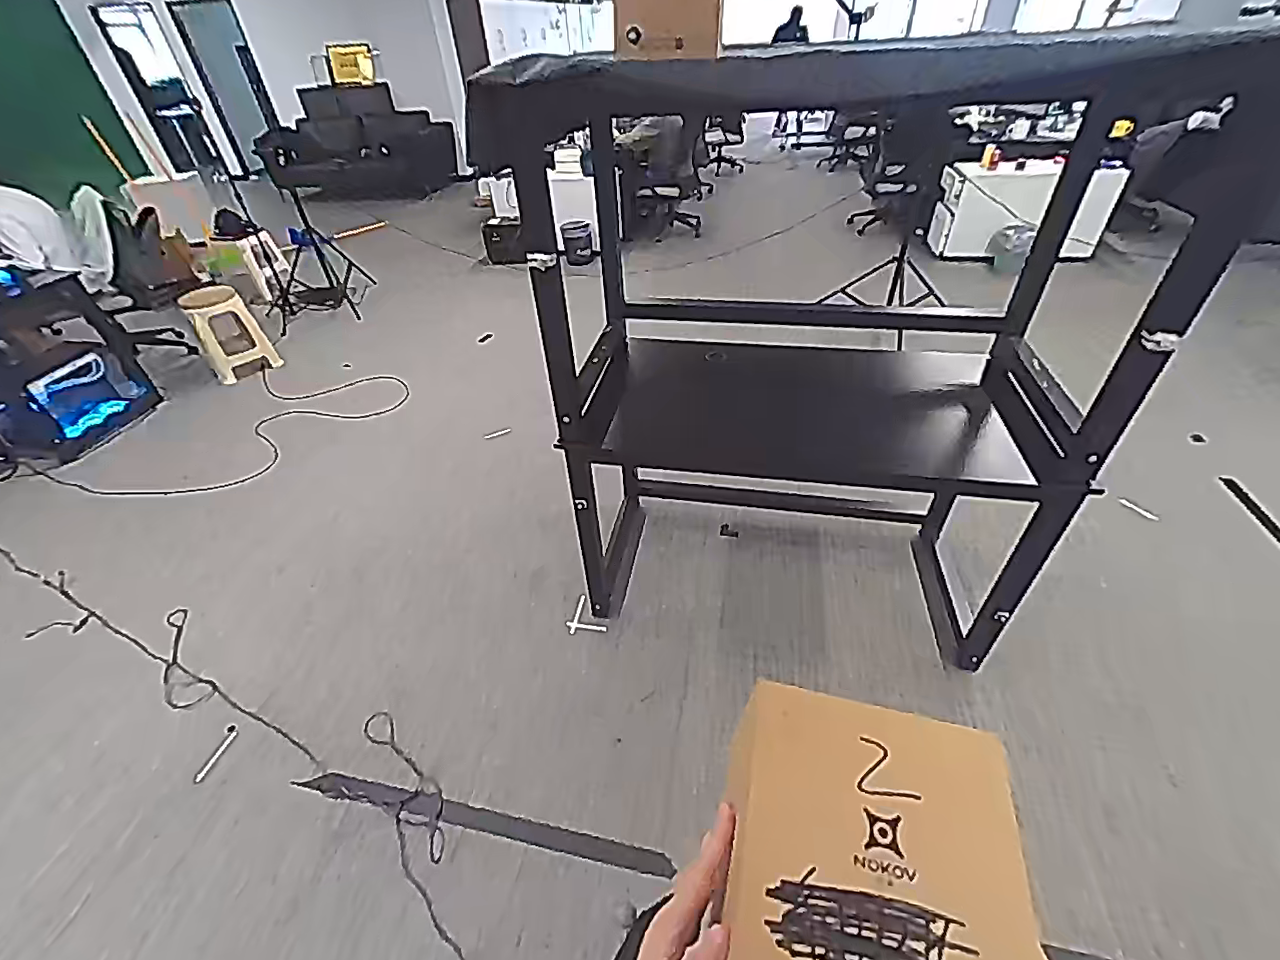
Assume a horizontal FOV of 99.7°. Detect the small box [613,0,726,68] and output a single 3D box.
[{"bbox_3d":[0.052,-0.769,0.864,0.168,0.176,0.179,5,38,8],"label":"small box"}]
